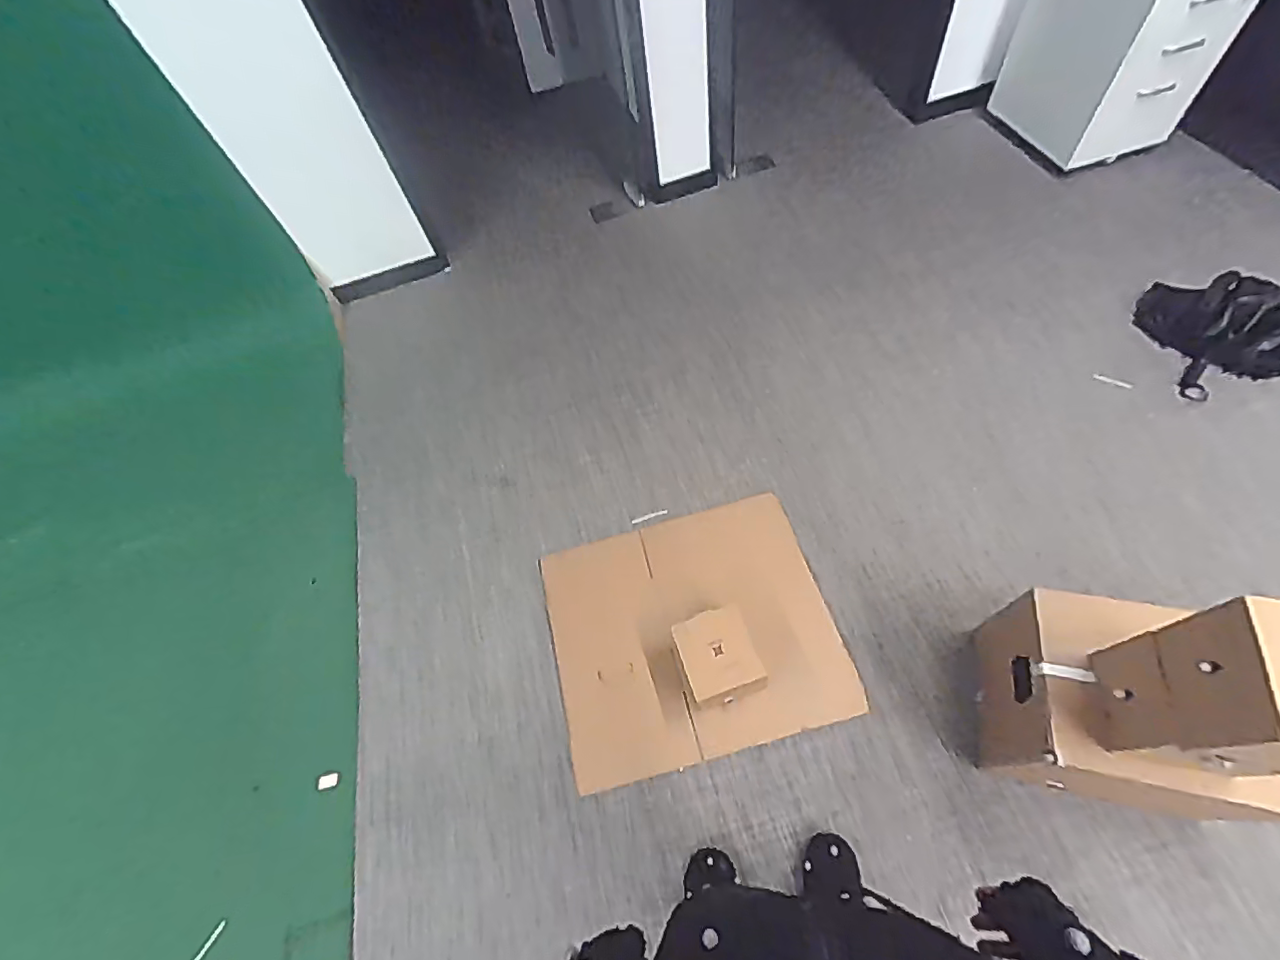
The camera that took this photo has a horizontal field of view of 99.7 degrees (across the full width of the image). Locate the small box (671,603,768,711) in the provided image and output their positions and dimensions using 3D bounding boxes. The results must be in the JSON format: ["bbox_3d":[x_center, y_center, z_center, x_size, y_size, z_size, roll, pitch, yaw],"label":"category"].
[{"bbox_3d":[0.184,0.415,1.254,0.168,0.176,0.179,-22,59,1],"label":"small box"}]

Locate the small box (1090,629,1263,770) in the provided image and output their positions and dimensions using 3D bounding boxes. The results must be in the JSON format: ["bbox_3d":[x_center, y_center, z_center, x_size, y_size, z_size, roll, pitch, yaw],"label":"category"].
[{"bbox_3d":[0.851,0.346,0.843,0.179,0.176,0.168,4,59,10],"label":"small box"}]

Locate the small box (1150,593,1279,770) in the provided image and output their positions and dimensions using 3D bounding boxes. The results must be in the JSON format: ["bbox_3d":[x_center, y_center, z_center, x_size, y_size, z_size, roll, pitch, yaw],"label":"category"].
[{"bbox_3d":[0.820,0.269,0.698,0.168,0.176,0.179,8,60,14],"label":"small box"}]
